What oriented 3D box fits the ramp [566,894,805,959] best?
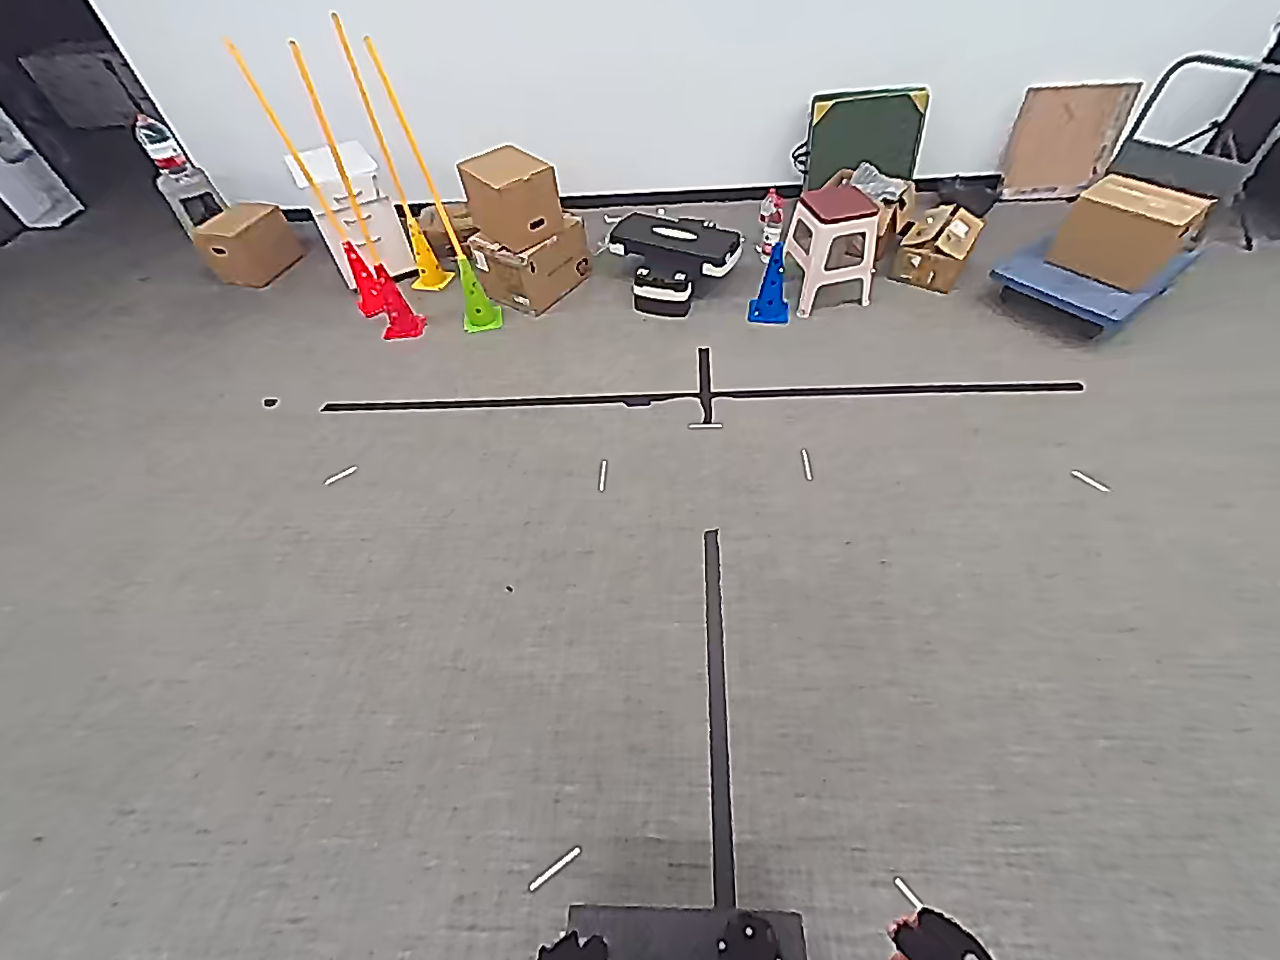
[{"bbox_3d":[0.086,1.320,0.906,0.509,0.206,0.991,-2,51,2],"label":"ramp"}]
